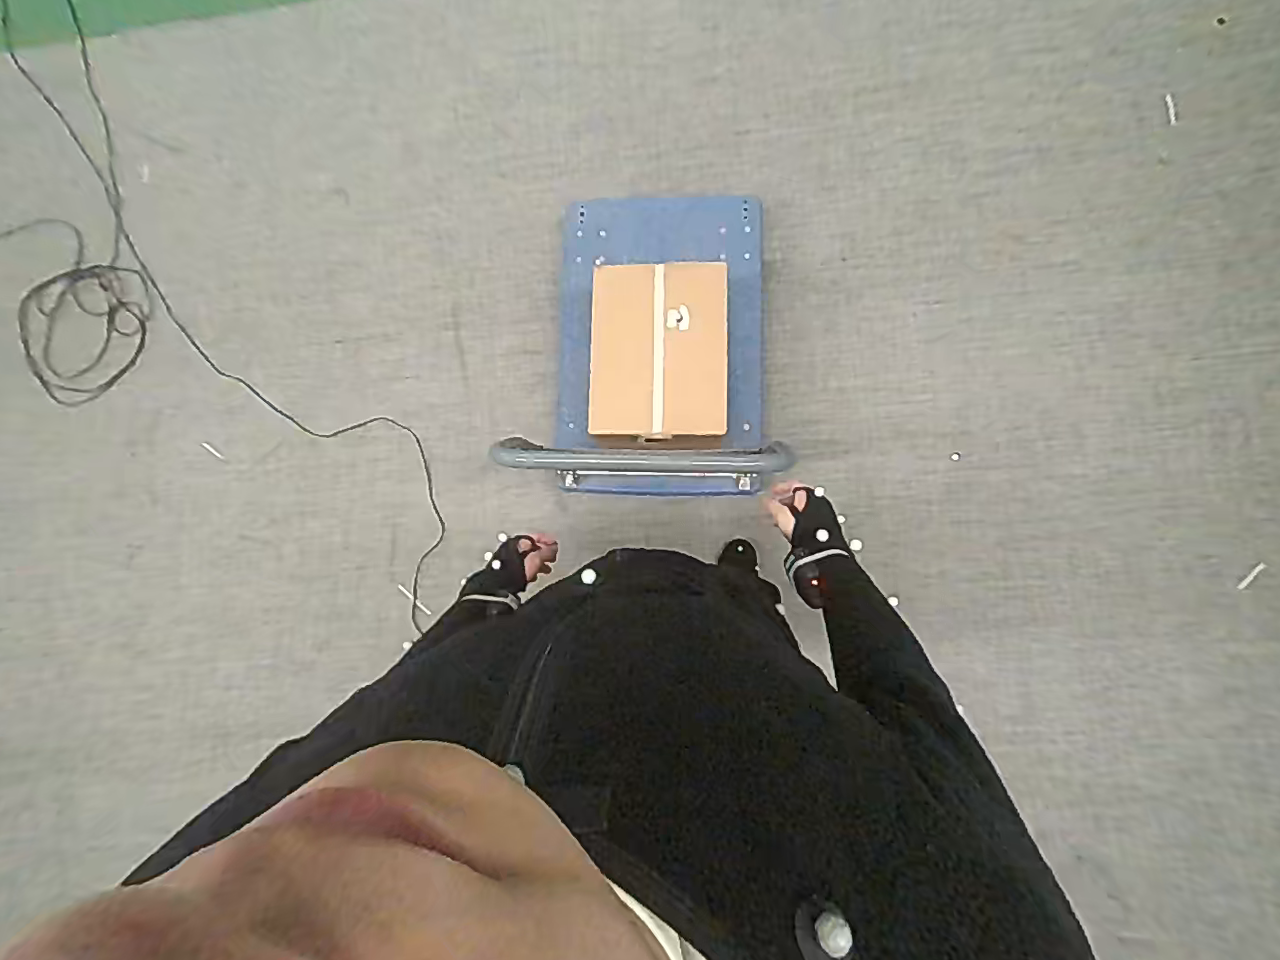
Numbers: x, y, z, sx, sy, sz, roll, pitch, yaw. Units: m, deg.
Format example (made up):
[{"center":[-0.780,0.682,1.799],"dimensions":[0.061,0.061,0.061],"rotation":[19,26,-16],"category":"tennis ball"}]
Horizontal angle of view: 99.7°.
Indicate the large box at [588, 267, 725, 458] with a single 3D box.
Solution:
[{"center":[0.050,-0.278,1.391],"dimensions":[0.320,0.320,0.408],"rotation":[1,82,5],"category":"large box"}]
